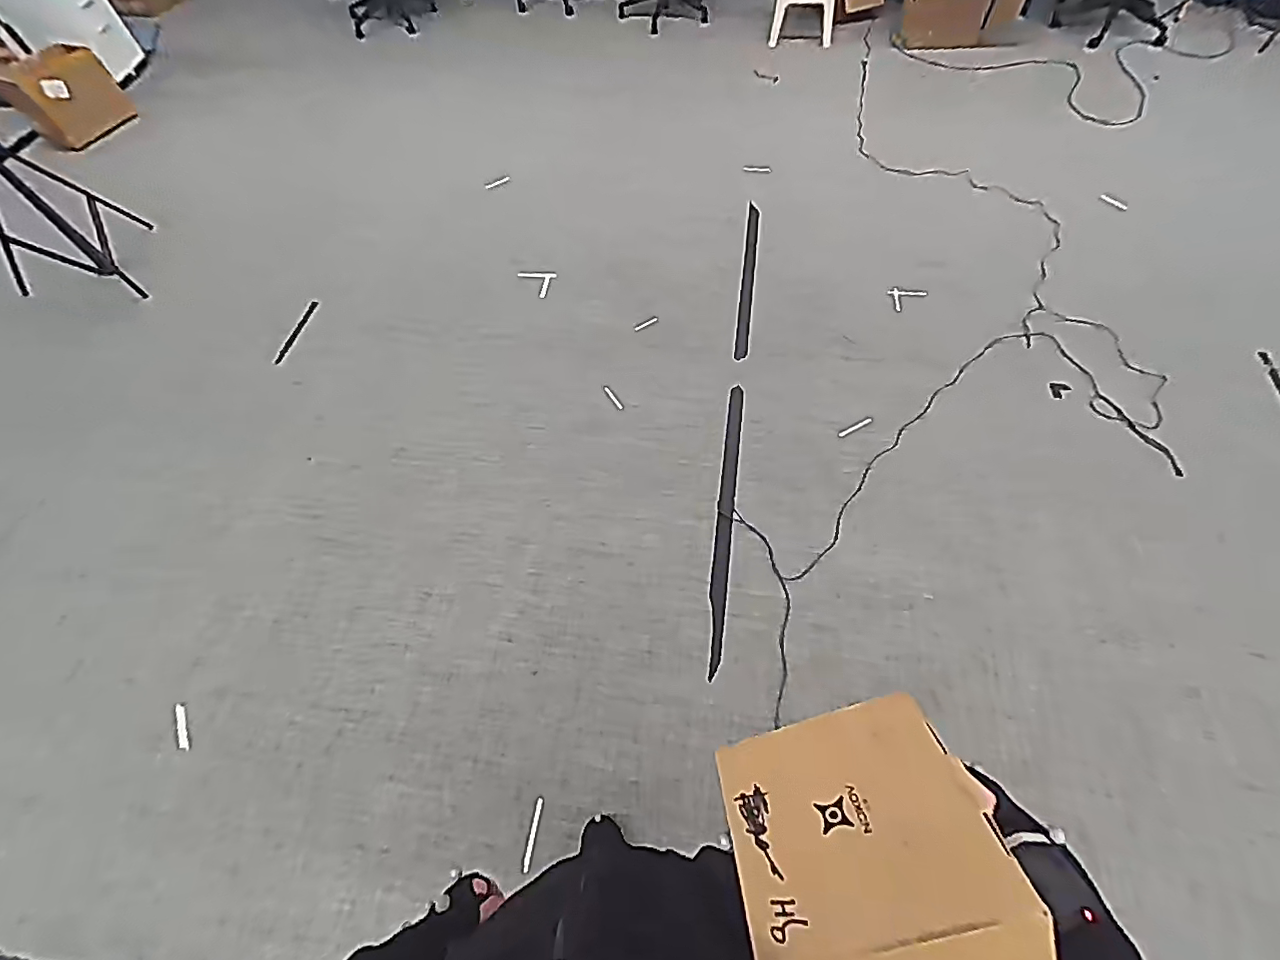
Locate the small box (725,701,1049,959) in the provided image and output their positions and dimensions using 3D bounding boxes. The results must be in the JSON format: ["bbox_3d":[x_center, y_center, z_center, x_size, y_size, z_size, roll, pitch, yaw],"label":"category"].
[{"bbox_3d":[0.186,0.319,0.435,0.179,0.176,0.168,-20,22,6],"label":"small box"}]
